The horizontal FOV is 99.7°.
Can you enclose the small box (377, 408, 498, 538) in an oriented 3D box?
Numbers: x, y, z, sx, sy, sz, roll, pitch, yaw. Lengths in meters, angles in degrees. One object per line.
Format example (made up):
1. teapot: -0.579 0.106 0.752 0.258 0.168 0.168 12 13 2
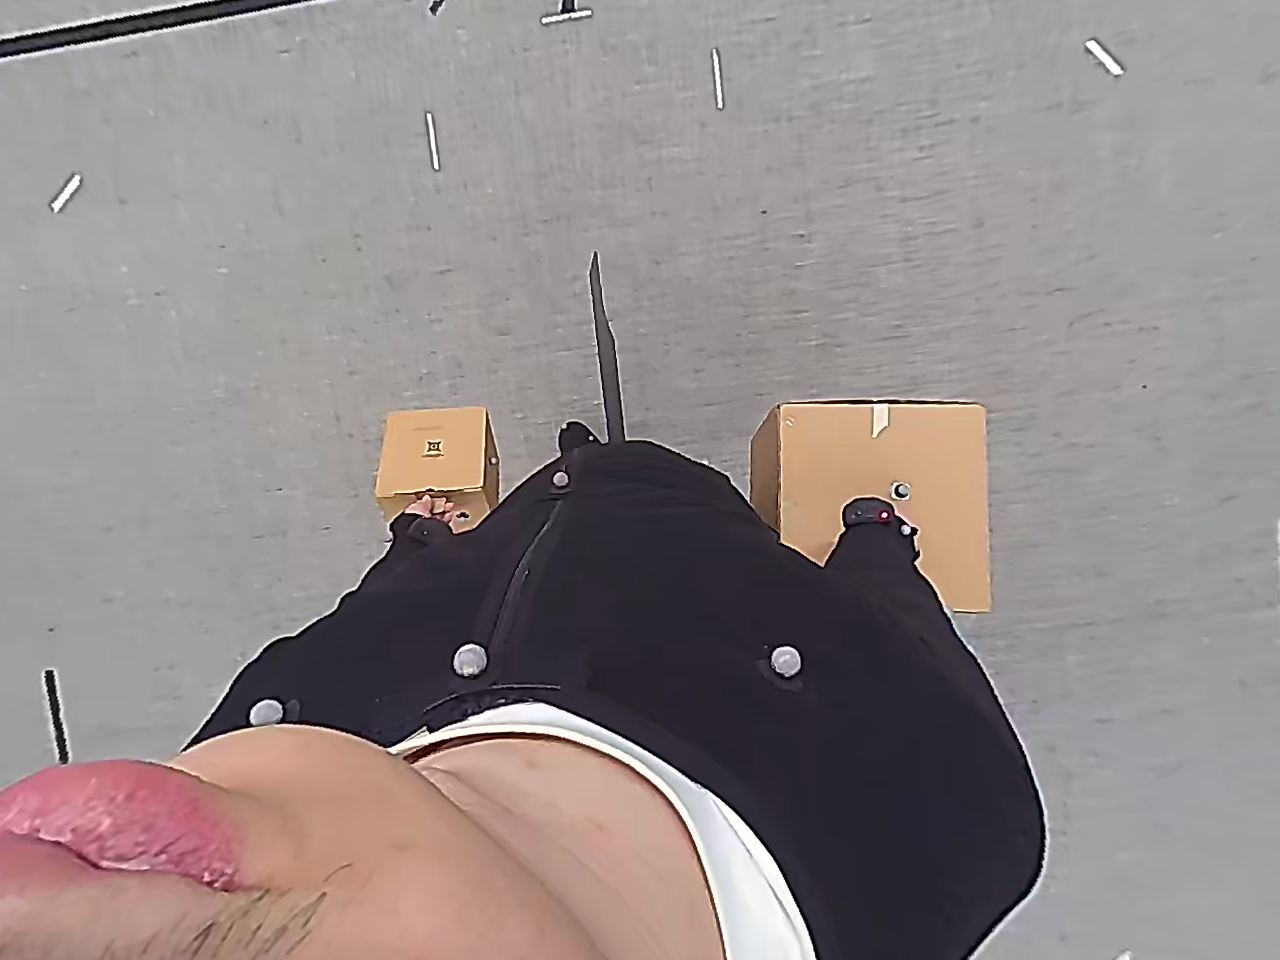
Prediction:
1. small box: -0.349 -0.006 0.968 0.168 0.176 0.179 -3 55 -8
